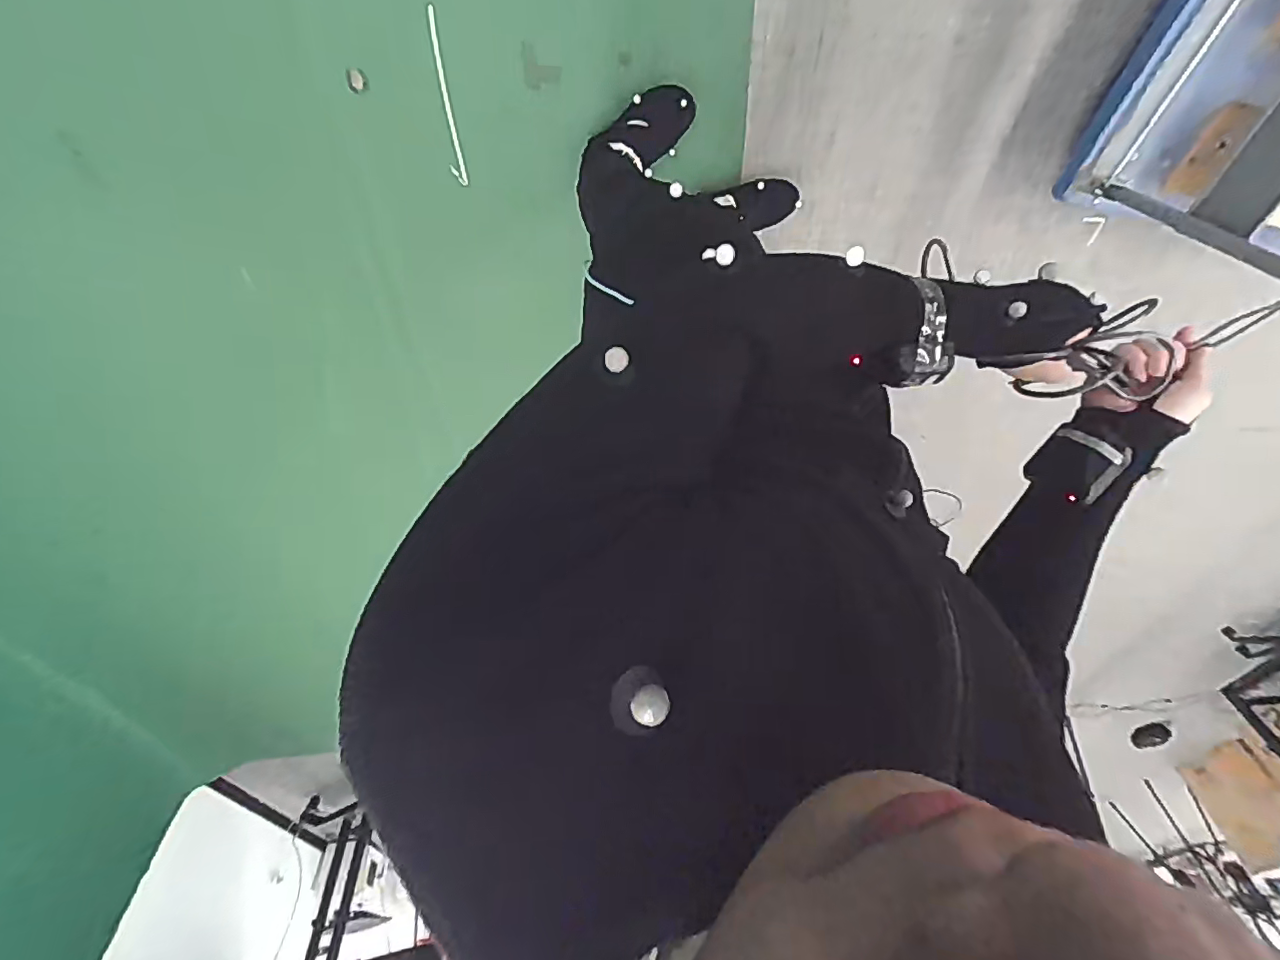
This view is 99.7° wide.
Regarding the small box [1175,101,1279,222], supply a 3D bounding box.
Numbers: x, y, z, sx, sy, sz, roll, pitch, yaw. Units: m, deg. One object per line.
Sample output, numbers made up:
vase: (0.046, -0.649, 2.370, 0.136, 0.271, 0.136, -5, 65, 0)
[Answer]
small box: (1.283, -0.649, 1.103, 0.179, 0.176, 0.168, 7, 132, -11)
